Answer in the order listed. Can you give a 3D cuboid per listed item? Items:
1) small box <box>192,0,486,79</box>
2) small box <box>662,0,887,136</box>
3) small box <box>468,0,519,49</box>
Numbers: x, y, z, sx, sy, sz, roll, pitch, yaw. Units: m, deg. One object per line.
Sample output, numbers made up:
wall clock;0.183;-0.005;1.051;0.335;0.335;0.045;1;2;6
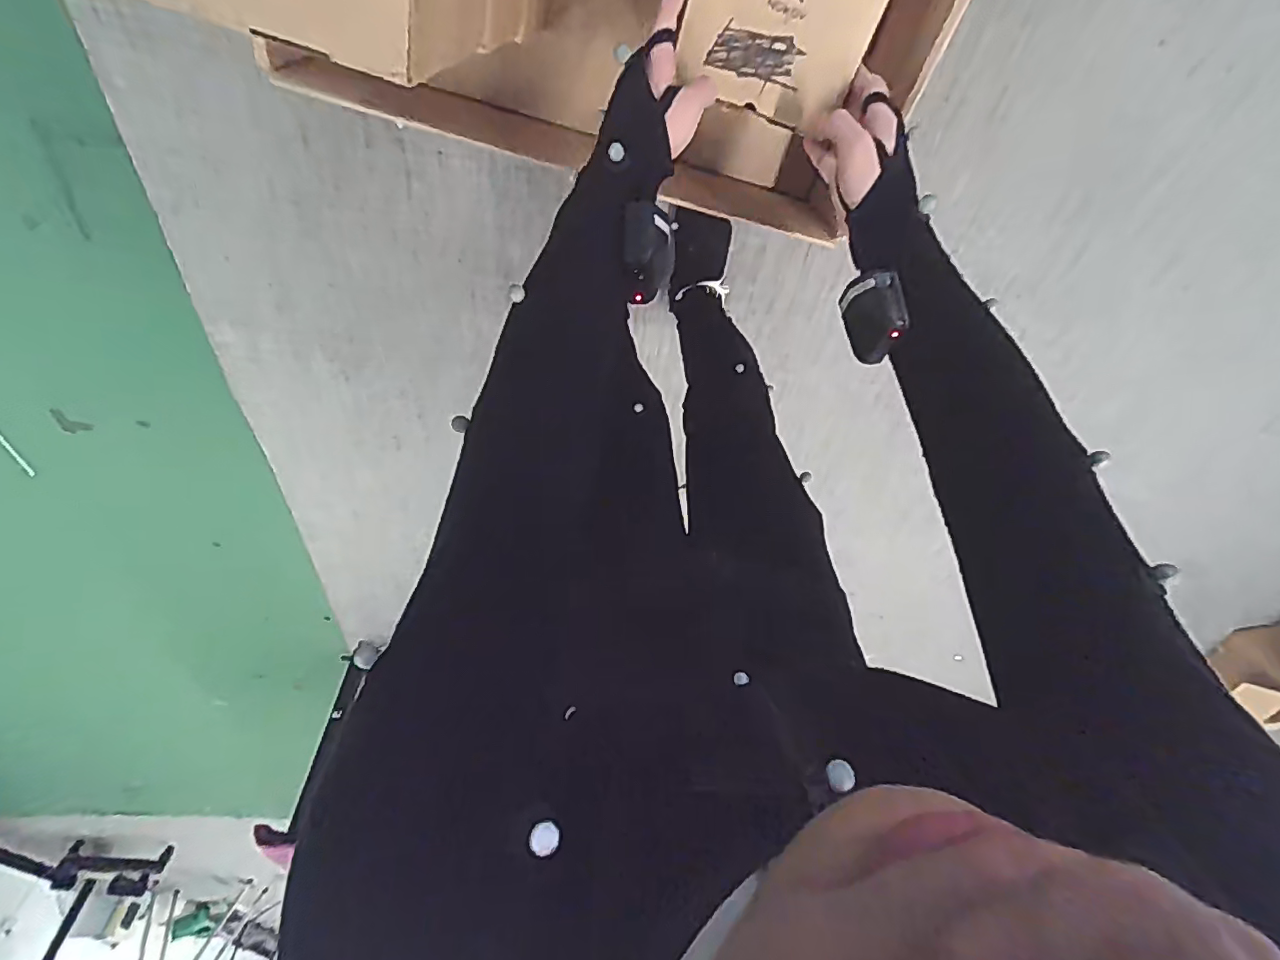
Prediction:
small box;-0.147;-0.296;0.207;0.168;0.176;0.179;12;132;-13
small box;0.123;-0.463;0.509;0.168;0.176;0.179;11;131;-13
small box;-0.154;-0.406;0.330;0.168;0.176;0.179;11;132;-13
